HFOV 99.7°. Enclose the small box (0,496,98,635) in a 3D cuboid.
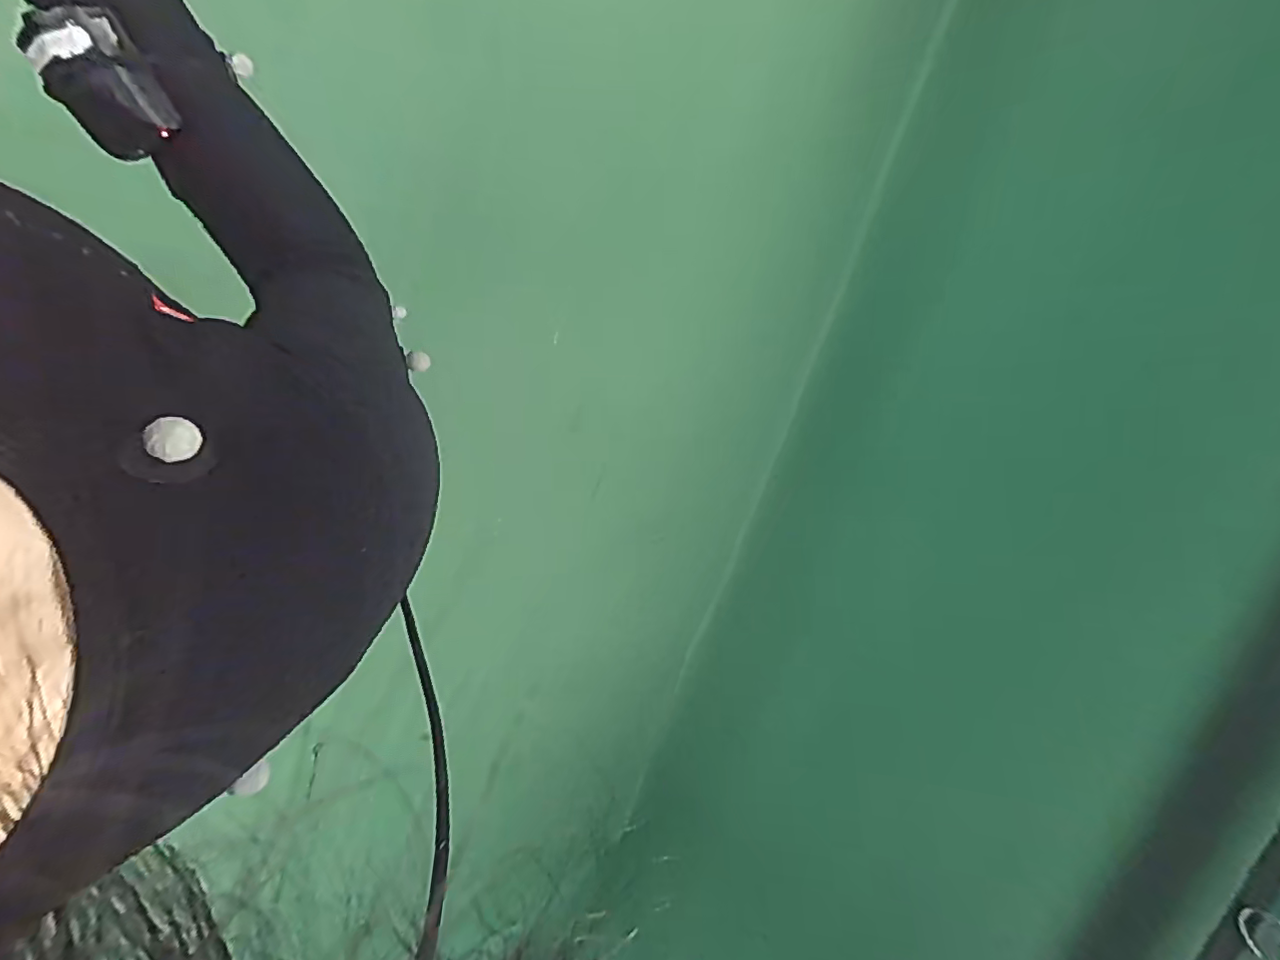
[{"bbox_3d":[-1.152,0.155,0.994,0.179,0.176,0.168,-59,142,-4],"label":"small box"}]
